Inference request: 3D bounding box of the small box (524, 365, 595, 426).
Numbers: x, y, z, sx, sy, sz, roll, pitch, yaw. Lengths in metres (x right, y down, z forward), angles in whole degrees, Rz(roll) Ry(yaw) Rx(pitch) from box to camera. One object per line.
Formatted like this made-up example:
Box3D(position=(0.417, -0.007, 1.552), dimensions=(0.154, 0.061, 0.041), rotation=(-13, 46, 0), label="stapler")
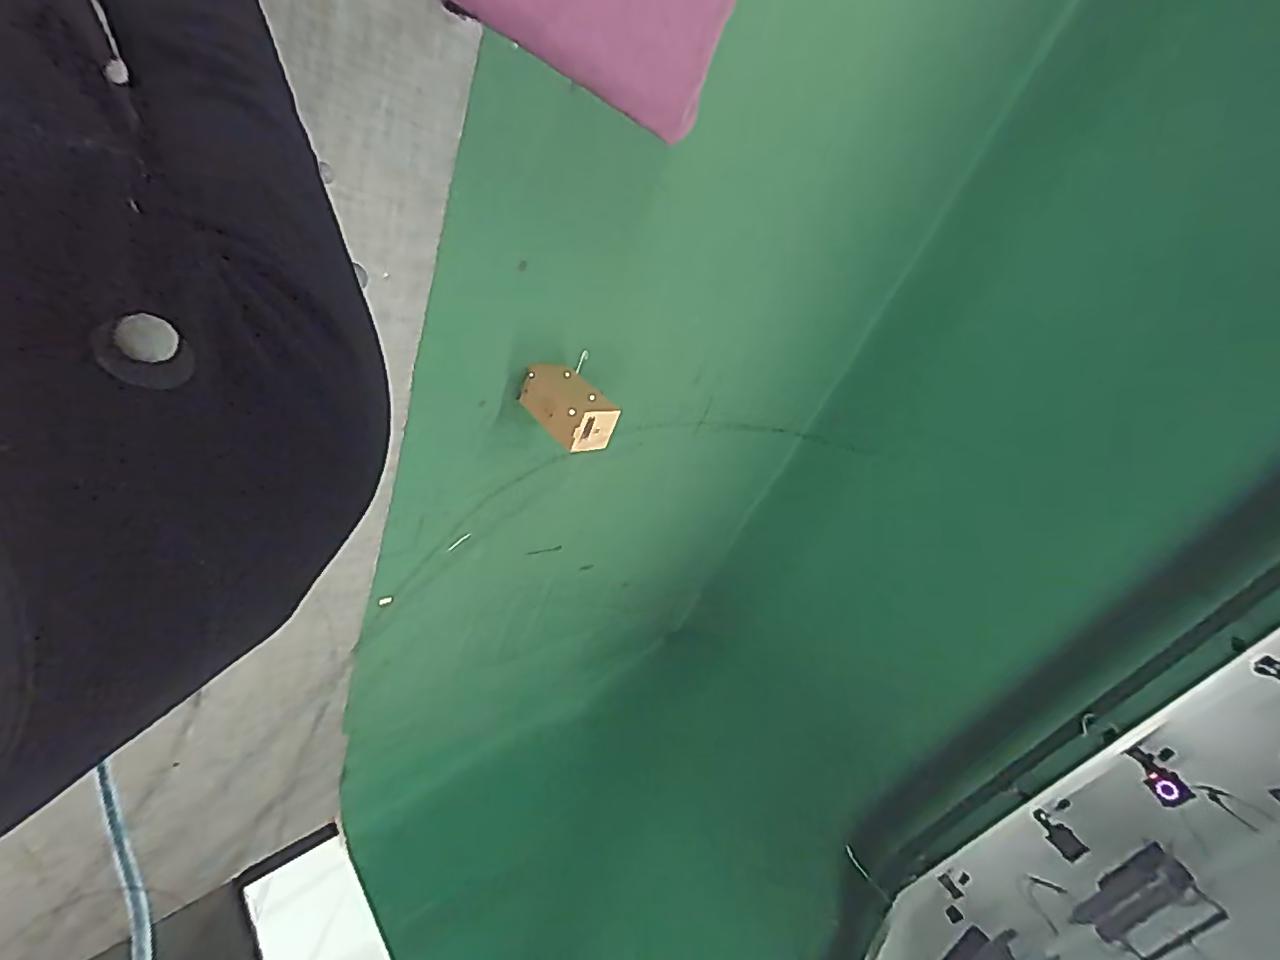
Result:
Box3D(position=(-0.306, -0.316, 2.013), dimensions=(0.179, 0.176, 0.168), rotation=(-10, 134, -48), label="small box")
